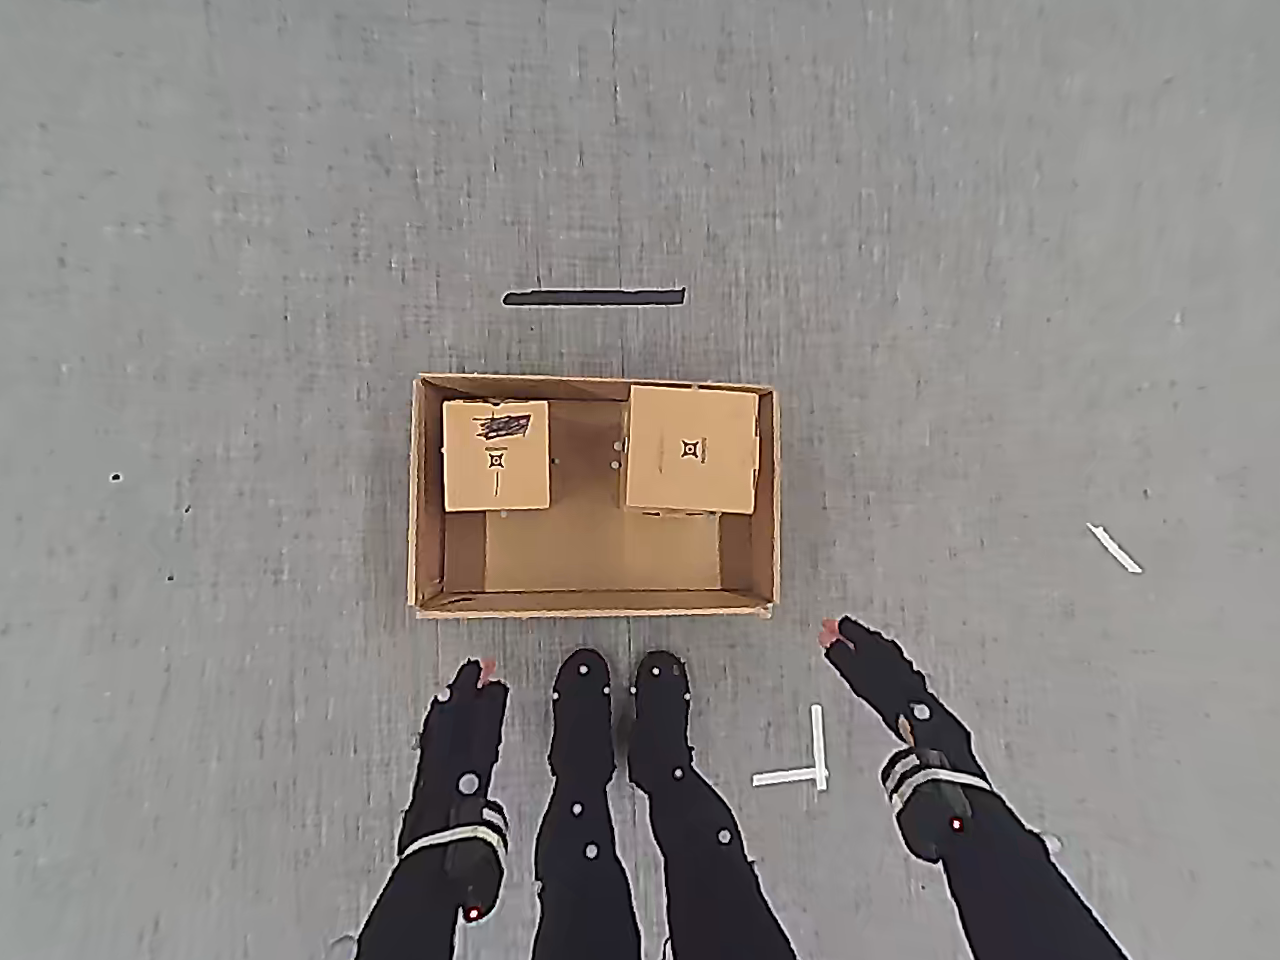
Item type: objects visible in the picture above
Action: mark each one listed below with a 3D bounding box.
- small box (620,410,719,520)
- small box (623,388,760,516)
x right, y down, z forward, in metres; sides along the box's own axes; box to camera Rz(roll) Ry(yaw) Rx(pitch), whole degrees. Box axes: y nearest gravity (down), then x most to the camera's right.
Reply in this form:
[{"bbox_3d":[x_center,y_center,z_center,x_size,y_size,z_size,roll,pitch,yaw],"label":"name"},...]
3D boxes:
[{"bbox_3d":[0.051,-0.025,0.967,0.168,0.176,0.179,2,90,-2],"label":"small box"},{"bbox_3d":[0.067,-0.034,0.803,0.179,0.176,0.168,2,87,-3],"label":"small box"}]
